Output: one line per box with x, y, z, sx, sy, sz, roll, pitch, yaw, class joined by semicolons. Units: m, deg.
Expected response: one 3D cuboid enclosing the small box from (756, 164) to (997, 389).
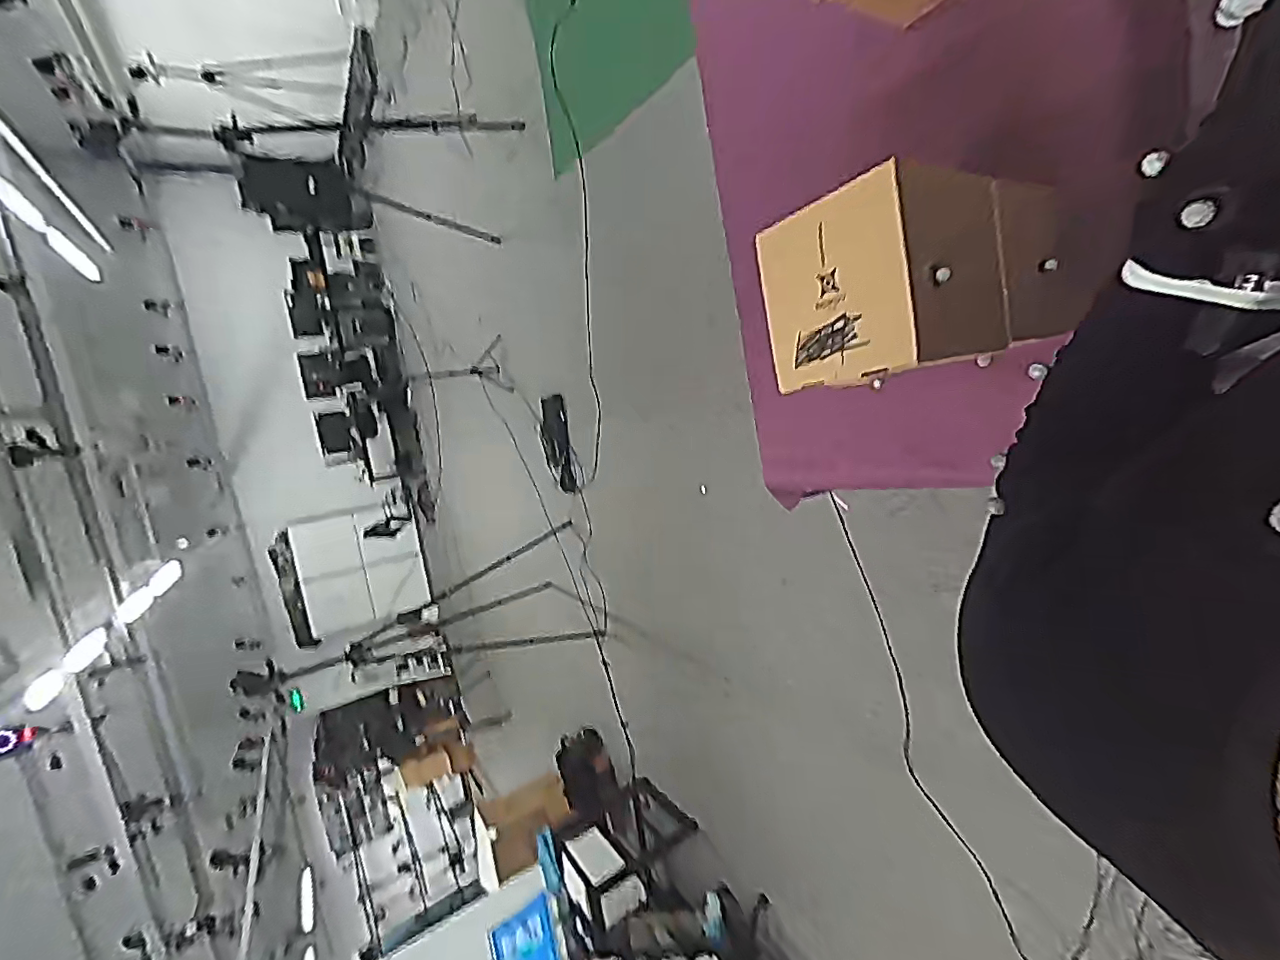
0.253;-0.205;0.580;0.168;0.176;0.179;-2;99;58;small box

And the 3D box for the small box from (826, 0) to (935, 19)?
0.317;-0.677;0.616;0.168;0.176;0.179;-3;99;58;small box

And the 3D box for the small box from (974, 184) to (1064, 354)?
0.389;-0.238;0.666;0.179;0.176;0.168;-1;100;58;small box
